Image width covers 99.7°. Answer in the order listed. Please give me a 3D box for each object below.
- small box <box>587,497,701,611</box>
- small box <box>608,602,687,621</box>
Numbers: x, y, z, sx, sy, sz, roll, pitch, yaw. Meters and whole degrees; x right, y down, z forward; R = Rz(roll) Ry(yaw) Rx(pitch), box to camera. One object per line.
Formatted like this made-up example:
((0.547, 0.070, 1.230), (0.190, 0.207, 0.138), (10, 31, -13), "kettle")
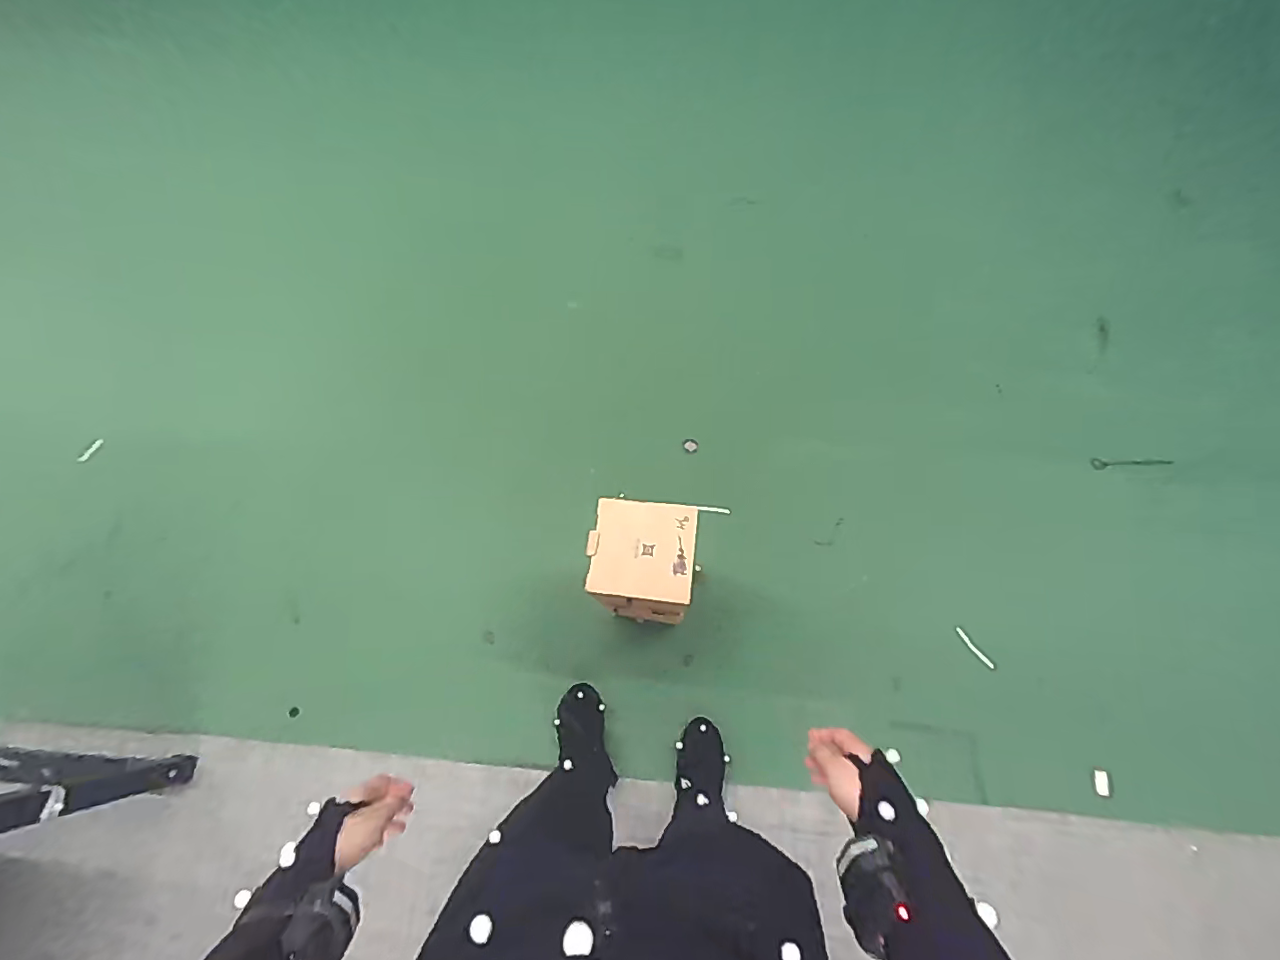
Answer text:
((0.010, 0.140, 0.981), (0.179, 0.176, 0.168), (6, 72, 4), "small box")
((0.026, 0.242, 1.293), (0.179, 0.176, 0.168), (8, 73, 3), "small box")
